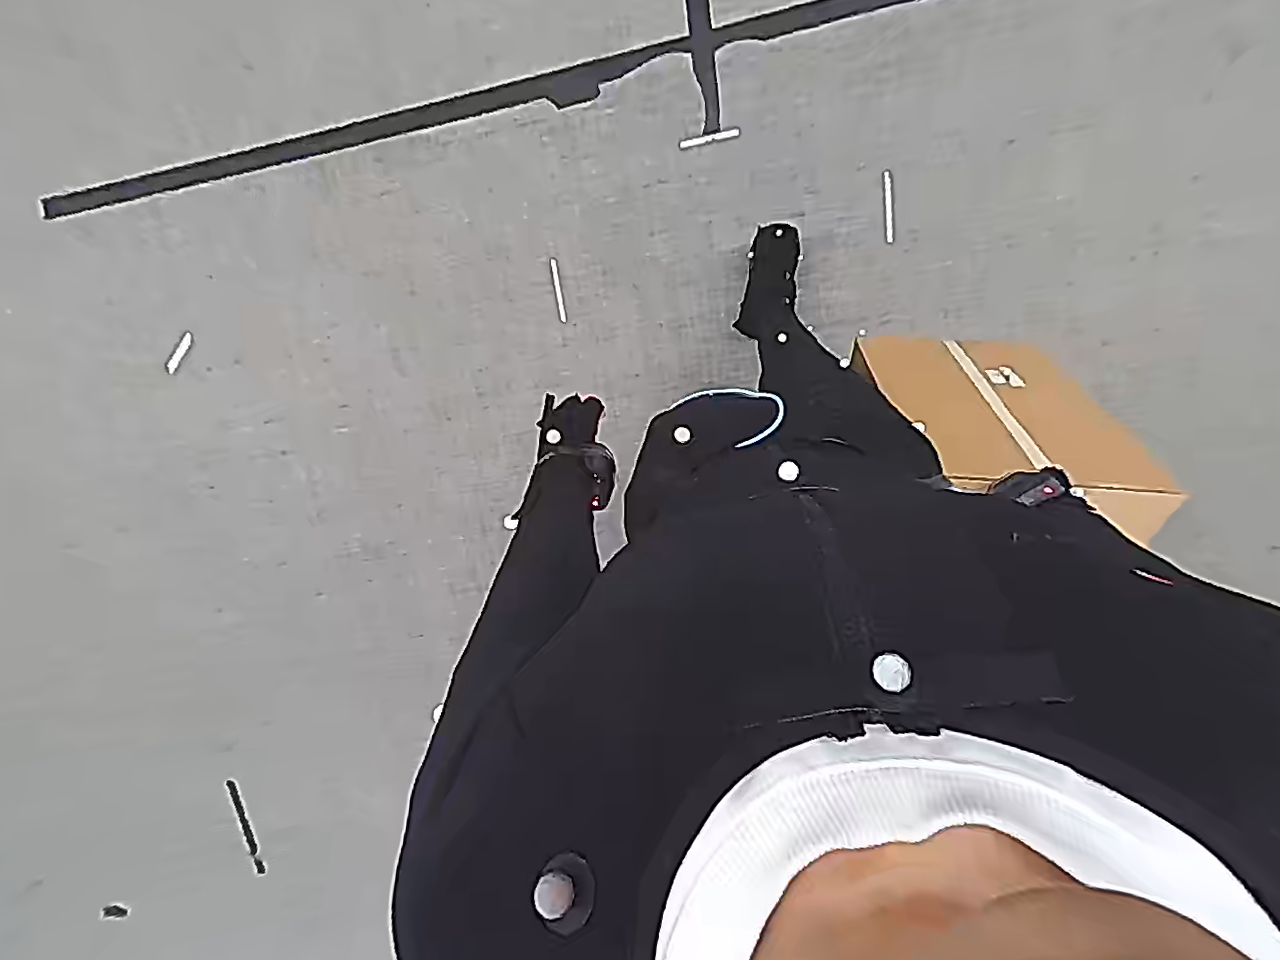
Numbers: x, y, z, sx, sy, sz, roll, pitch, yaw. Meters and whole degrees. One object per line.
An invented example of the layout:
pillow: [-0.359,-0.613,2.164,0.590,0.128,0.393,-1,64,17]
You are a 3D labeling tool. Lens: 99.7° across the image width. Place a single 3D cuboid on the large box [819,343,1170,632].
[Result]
large box: [0.520,-0.001,0.919,0.320,0.408,0.320,5,128,3]
